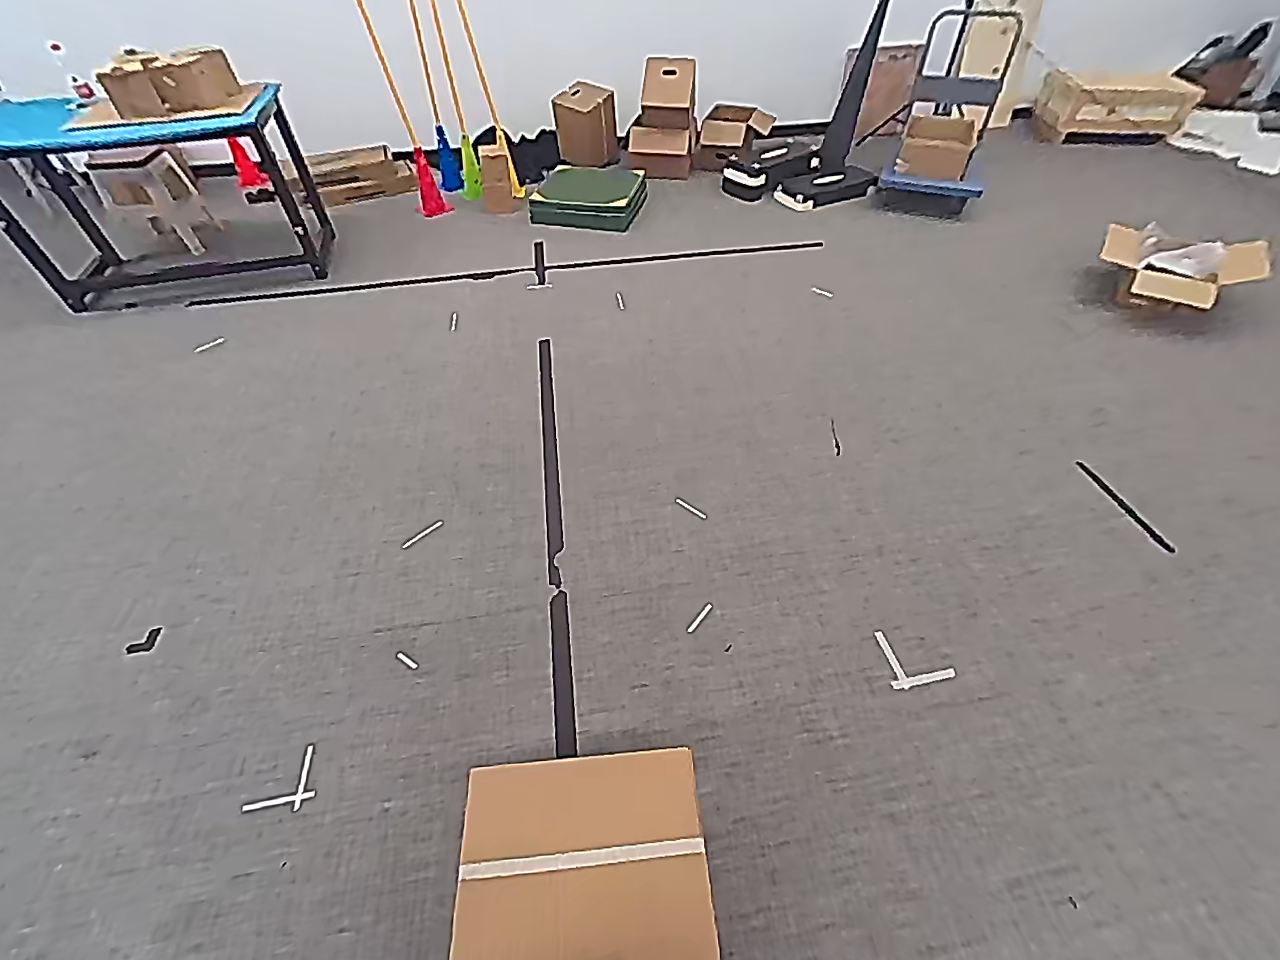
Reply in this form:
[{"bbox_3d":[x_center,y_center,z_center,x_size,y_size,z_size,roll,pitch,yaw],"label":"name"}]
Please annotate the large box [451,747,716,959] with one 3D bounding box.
[{"bbox_3d":[-0.094,0.726,1.004,0.408,0.320,0.320,-4,47,-3],"label":"large box"}]
